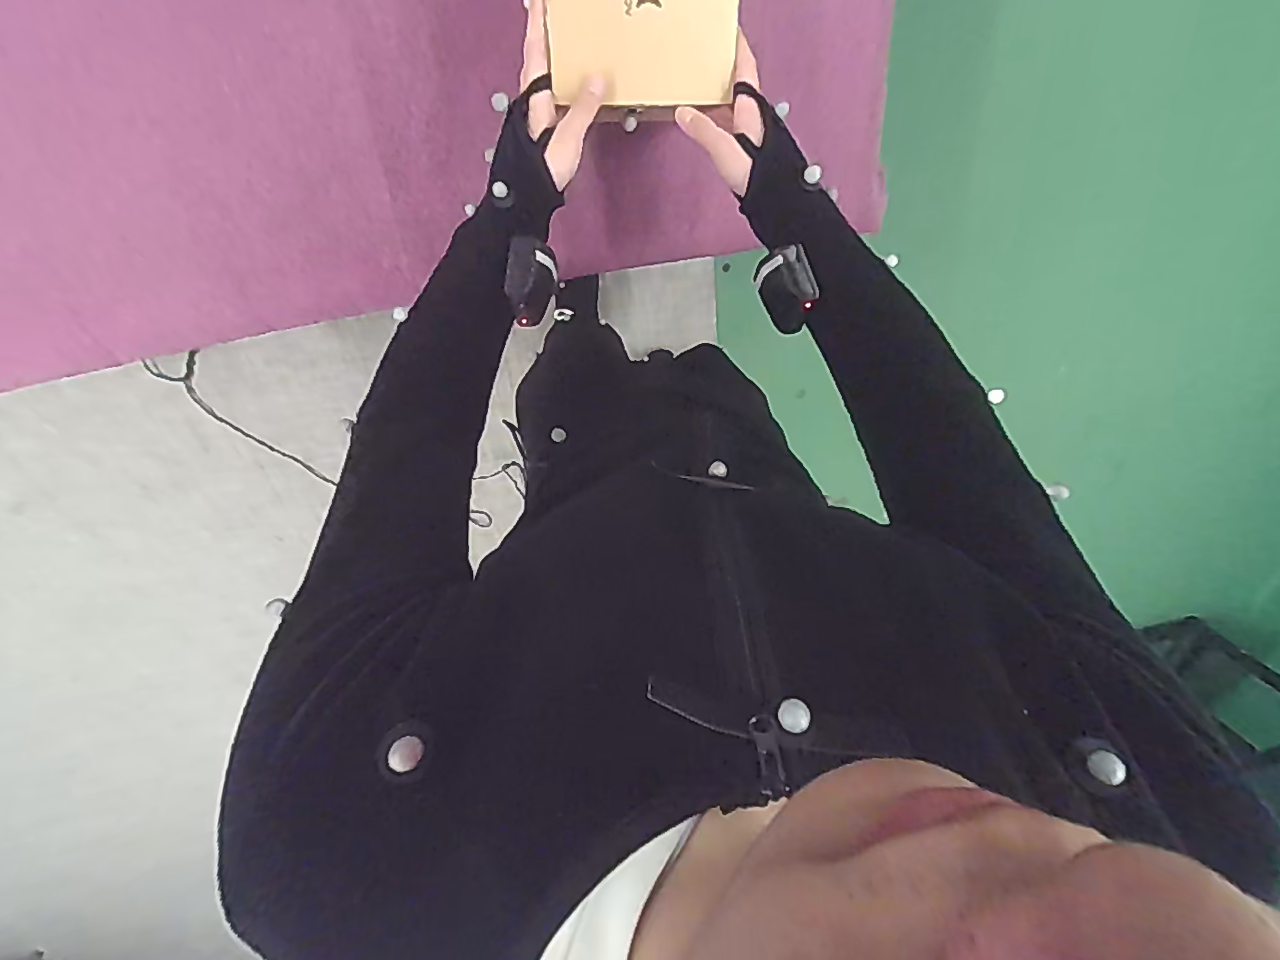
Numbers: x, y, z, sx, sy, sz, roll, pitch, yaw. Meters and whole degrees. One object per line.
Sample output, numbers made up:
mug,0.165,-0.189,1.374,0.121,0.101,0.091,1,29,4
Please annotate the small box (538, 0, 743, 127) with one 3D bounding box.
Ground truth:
small box,-0.008,-0.455,0.535,0.179,0.176,0.168,-6,120,-9

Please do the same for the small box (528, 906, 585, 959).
small box,-0.288,1.624,1.877,0.179,0.176,0.168,-8,120,-10
